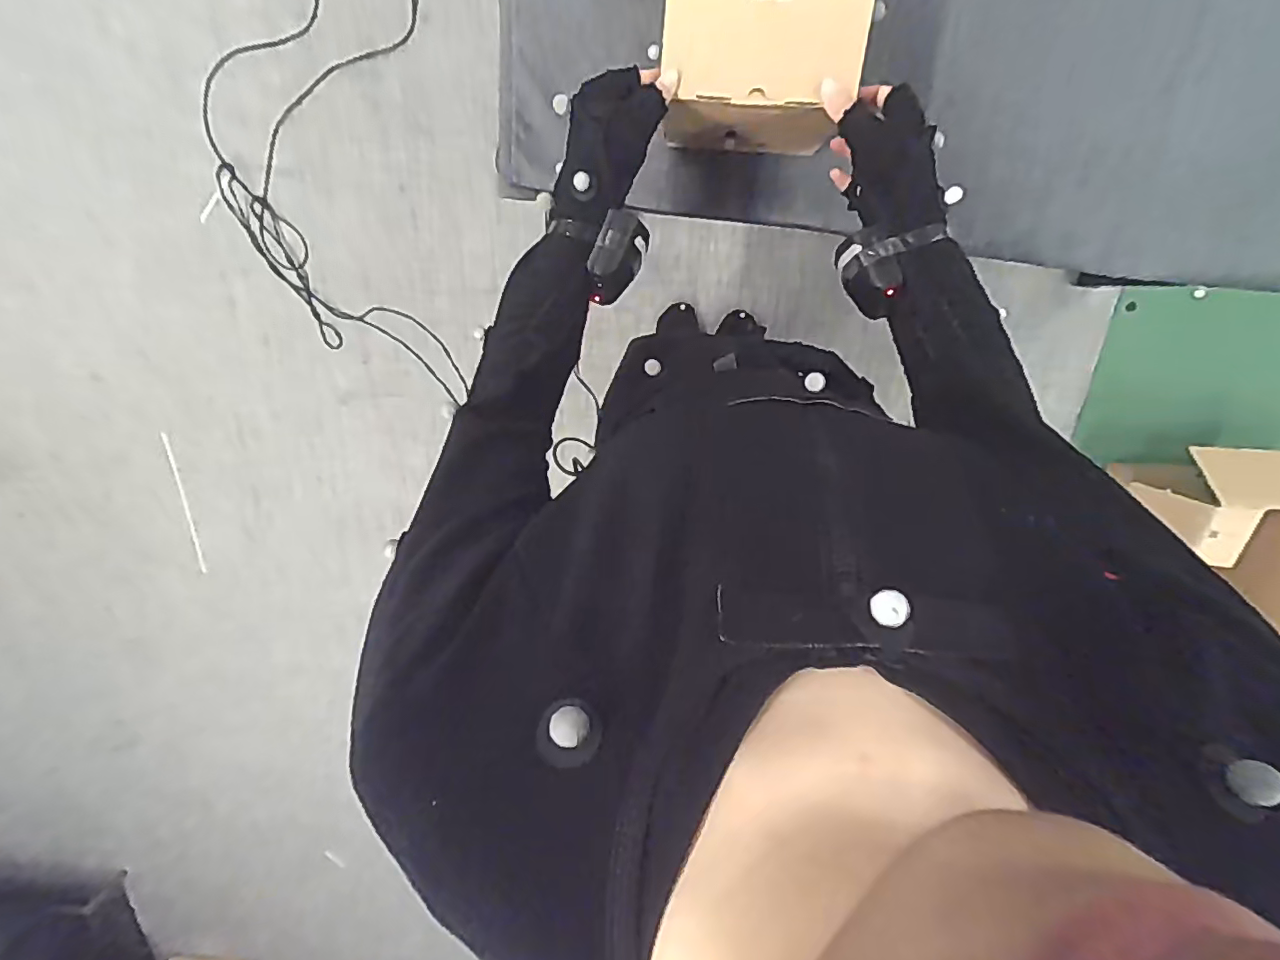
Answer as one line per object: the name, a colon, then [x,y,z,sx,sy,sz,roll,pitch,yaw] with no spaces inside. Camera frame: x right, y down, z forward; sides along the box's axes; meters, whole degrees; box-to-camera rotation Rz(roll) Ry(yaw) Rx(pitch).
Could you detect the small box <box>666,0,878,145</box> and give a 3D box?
small box: [0.113,-0.432,0.496,0.168,0.176,0.179,5,111,3]
